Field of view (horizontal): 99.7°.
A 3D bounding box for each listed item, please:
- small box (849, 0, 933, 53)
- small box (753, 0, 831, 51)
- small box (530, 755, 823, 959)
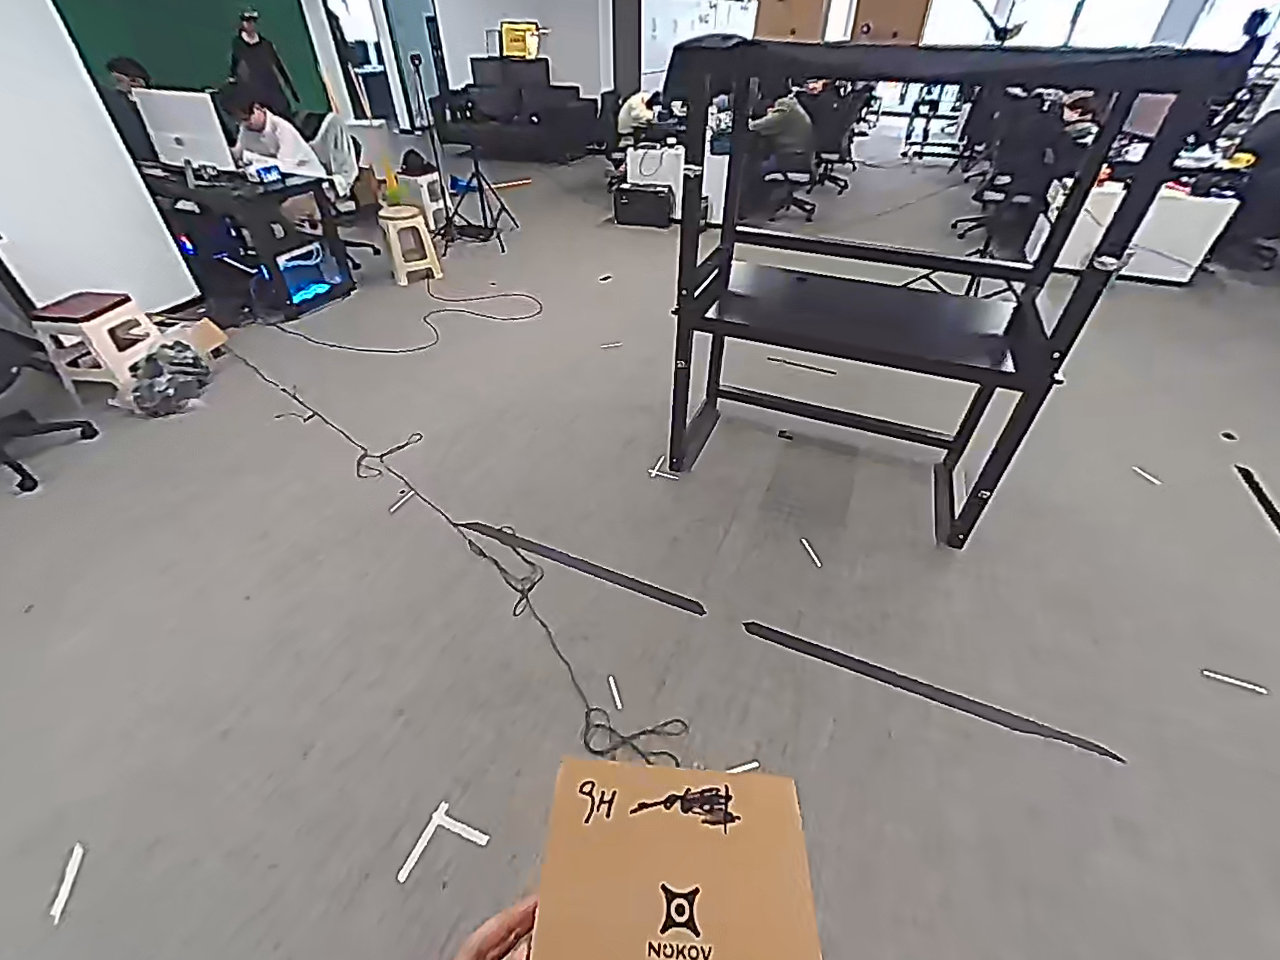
[{"bbox_3d":[0.629,-1.171,1.340,0.168,0.176,0.179,17,39,18],"label":"small box"},{"bbox_3d":[0.396,-1.218,1.394,0.168,0.176,0.179,16,40,16],"label":"small box"},{"bbox_3d":[0.014,0.314,0.364,0.168,0.176,0.179,8,43,-2],"label":"small box"}]
